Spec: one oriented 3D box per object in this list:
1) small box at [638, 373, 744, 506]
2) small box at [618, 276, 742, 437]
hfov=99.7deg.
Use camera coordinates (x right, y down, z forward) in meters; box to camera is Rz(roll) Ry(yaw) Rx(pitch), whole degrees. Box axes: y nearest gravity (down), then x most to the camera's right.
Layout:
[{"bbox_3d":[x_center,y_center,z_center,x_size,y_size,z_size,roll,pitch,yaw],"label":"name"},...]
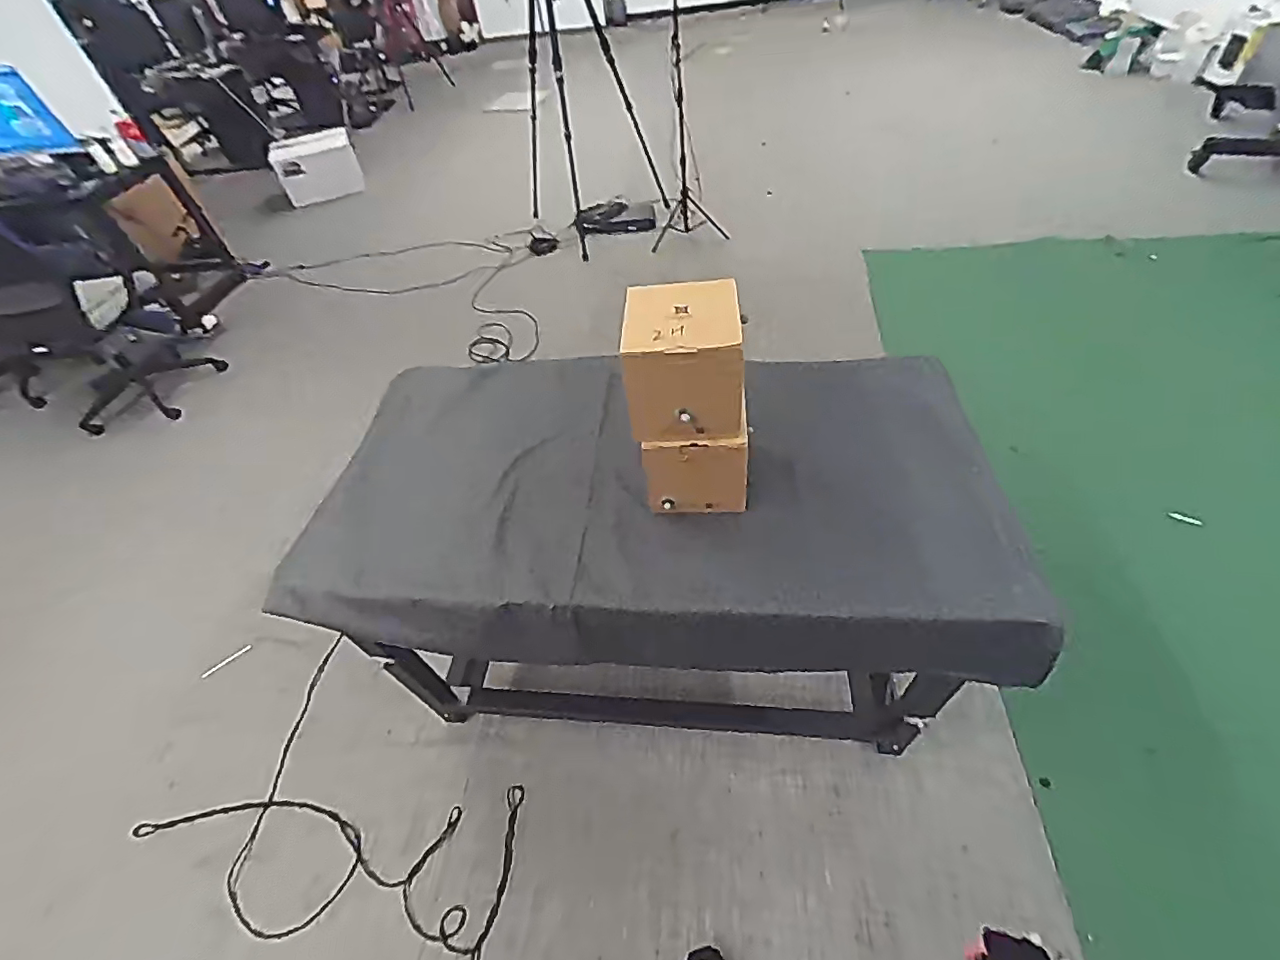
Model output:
[{"bbox_3d":[0.095,-0.067,0.935,0.168,0.176,0.179,-1,48,8],"label":"small box"},{"bbox_3d":[0.065,-0.186,0.823,0.168,0.176,0.179,-2,50,7],"label":"small box"}]
